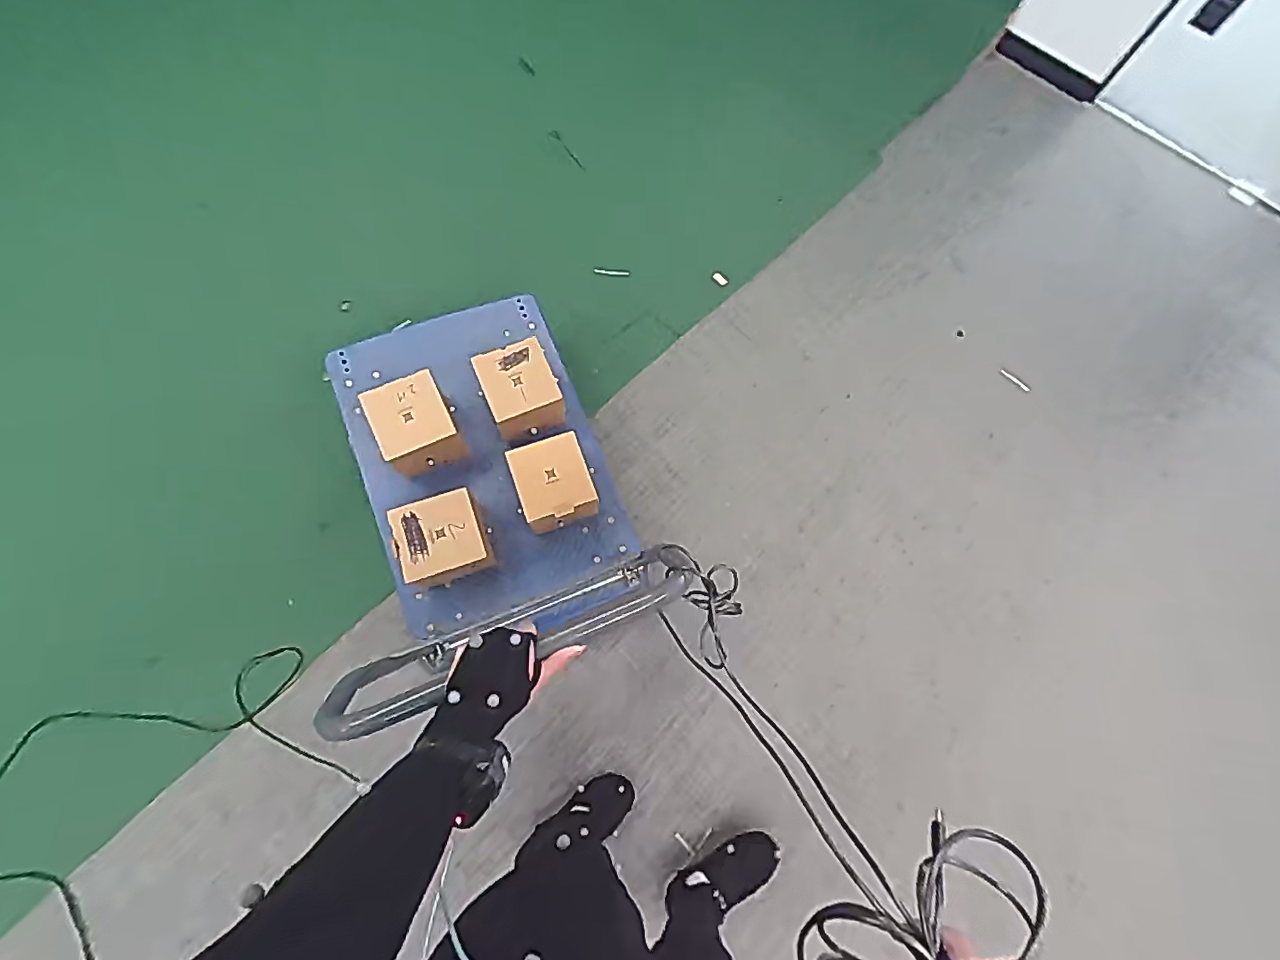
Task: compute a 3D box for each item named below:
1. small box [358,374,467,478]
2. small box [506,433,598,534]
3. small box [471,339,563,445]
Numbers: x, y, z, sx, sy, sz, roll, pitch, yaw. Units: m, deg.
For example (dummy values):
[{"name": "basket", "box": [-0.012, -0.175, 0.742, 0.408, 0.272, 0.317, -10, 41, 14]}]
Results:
[{"name": "small box", "box": [-0.532, -0.119, 1.291, 0.168, 0.176, 0.179, -25, 79, -12]}, {"name": "small box", "box": [-0.207, 0.014, 1.291, 0.168, 0.176, 0.179, -20, 79, -10]}, {"name": "small box", "box": [-0.299, -0.212, 1.338, 0.168, 0.176, 0.179, -23, 80, -10]}]
